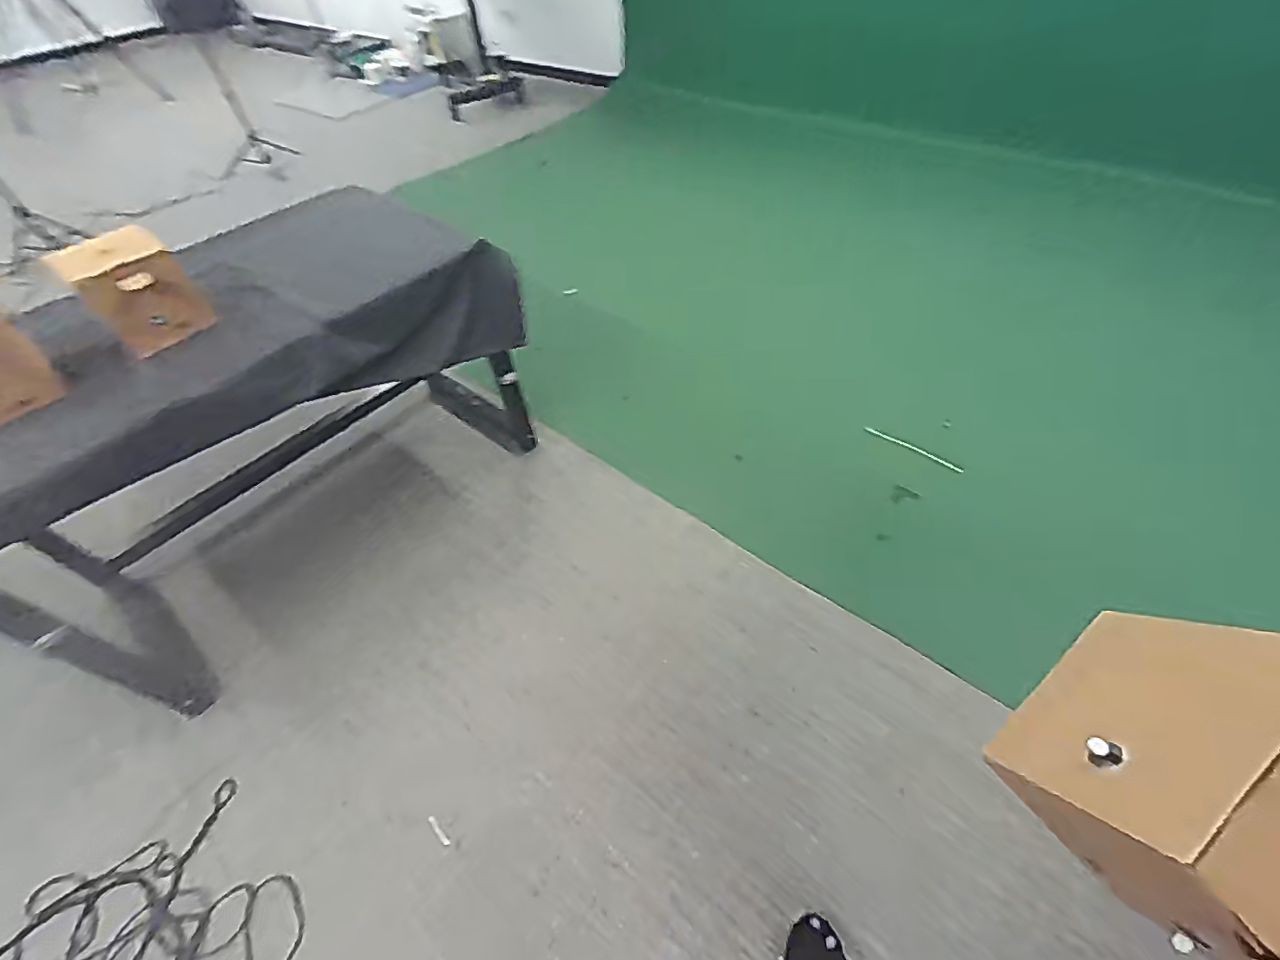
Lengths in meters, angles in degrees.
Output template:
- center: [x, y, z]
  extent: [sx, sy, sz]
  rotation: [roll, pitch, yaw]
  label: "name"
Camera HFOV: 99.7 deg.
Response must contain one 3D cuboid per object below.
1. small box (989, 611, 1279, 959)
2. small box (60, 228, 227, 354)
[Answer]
- center: [0.400, 0.218, 0.388]
  extent: [0.179, 0.176, 0.168]
  rotation: [-44, 90, -10]
  label: "small box"
- center: [-1.006, -0.384, 1.107]
  extent: [0.179, 0.176, 0.168]
  rotation: [32, 59, 27]
  label: "small box"
